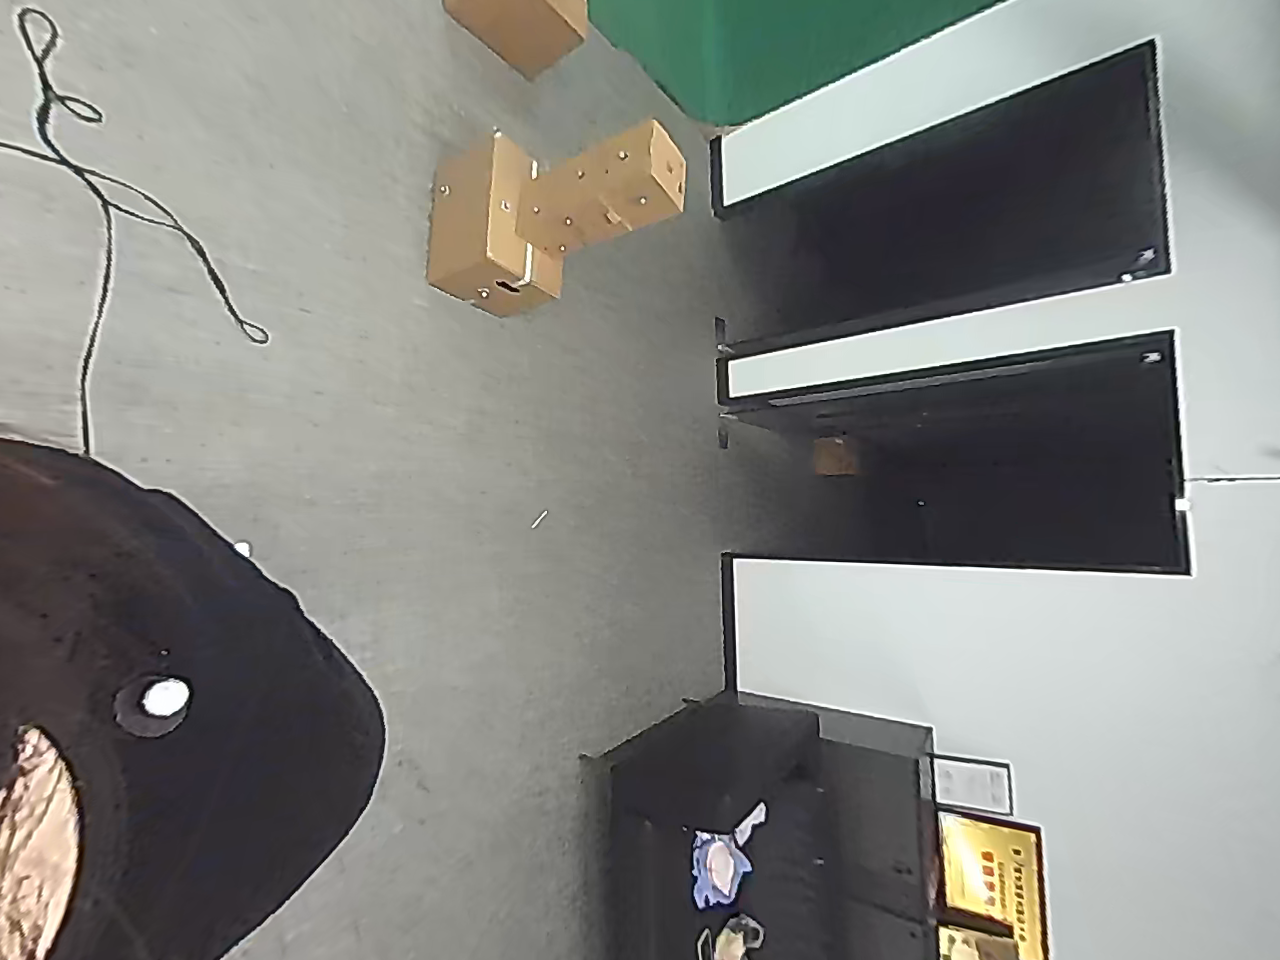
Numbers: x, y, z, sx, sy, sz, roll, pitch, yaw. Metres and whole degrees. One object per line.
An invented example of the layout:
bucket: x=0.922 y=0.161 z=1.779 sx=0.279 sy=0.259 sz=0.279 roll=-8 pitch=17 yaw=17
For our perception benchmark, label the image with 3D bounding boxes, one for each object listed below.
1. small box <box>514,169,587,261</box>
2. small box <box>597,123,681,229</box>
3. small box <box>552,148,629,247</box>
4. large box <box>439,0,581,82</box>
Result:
small box: x=-0.274 y=-0.817 z=1.692 sx=0.168 sy=0.176 sz=0.179 roll=19 pitch=72 yaw=-54
small box: x=-0.003 y=-0.833 z=1.507 sx=0.179 sy=0.176 sz=0.168 roll=19 pitch=72 yaw=-54
small box: x=-0.141 y=-0.823 z=1.596 sx=0.168 sy=0.176 sz=0.179 roll=21 pitch=69 yaw=-54
large box: x=-0.463 y=-1.752 z=1.931 sx=0.408 sy=0.320 sz=0.320 roll=1 pitch=86 yaw=-55
